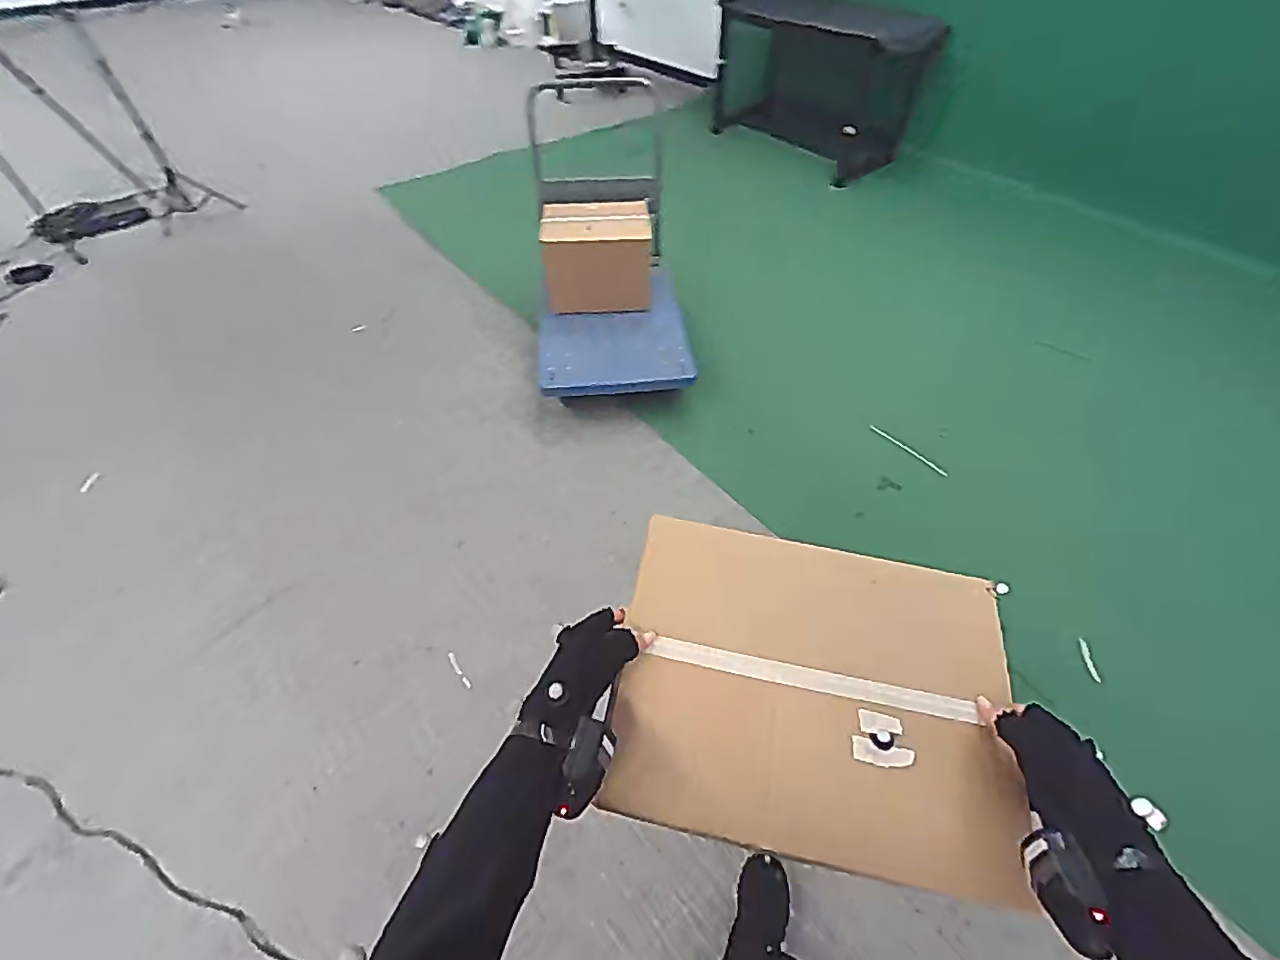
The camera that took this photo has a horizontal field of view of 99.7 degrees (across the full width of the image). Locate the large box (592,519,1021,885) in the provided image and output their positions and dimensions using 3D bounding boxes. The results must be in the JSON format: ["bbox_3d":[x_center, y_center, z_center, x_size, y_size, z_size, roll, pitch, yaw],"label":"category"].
[{"bbox_3d":[0.166,0.285,0.699,0.408,0.320,0.320,11,58,4],"label":"large box"}]
